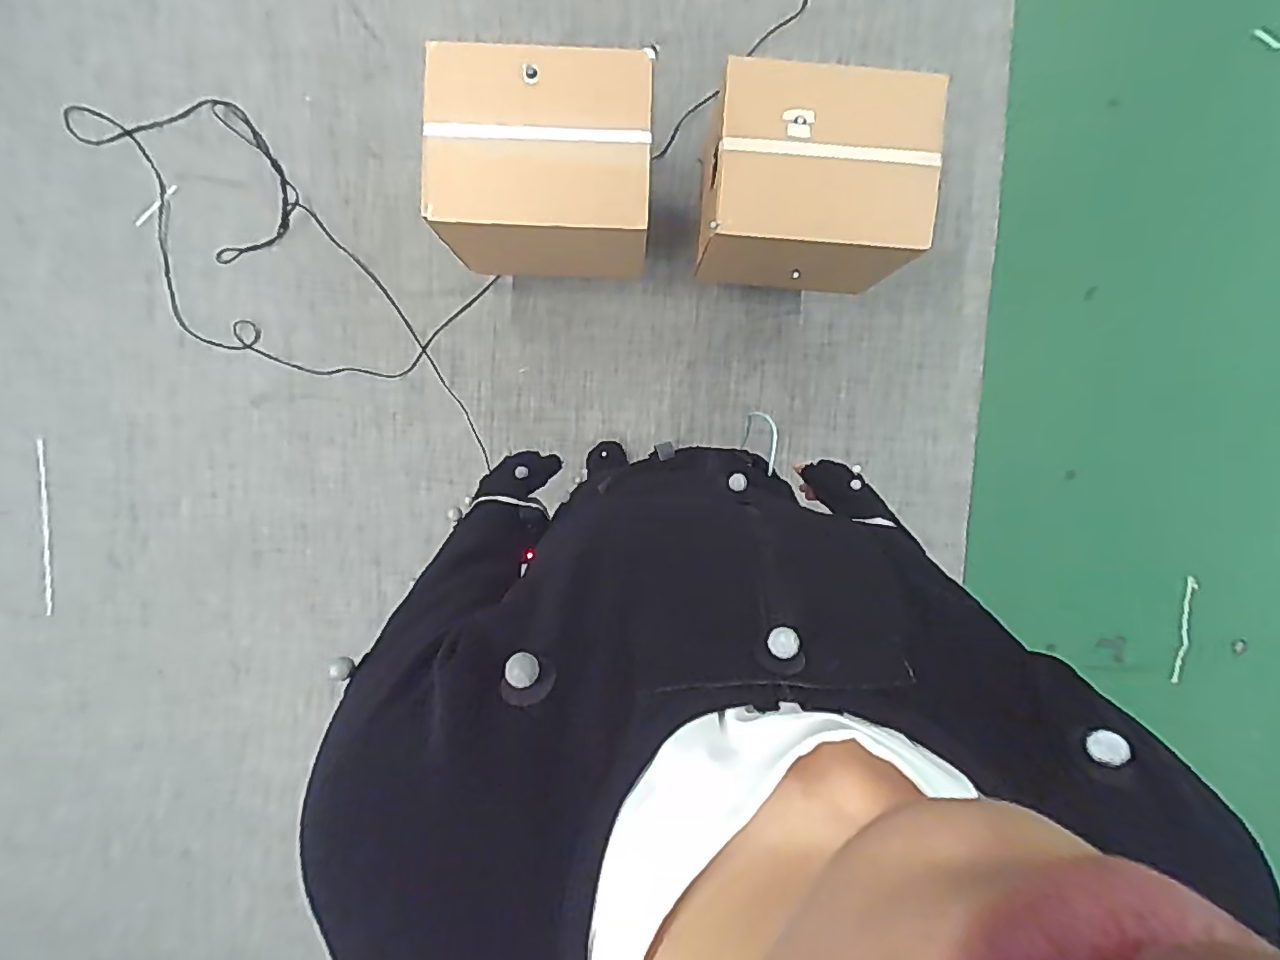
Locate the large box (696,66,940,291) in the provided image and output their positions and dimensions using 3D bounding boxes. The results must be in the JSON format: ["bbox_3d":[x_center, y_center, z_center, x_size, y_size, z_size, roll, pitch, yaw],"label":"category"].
[{"bbox_3d":[0.345,-0.604,1.148,0.408,0.320,0.320,4,94,-1],"label":"large box"}]
